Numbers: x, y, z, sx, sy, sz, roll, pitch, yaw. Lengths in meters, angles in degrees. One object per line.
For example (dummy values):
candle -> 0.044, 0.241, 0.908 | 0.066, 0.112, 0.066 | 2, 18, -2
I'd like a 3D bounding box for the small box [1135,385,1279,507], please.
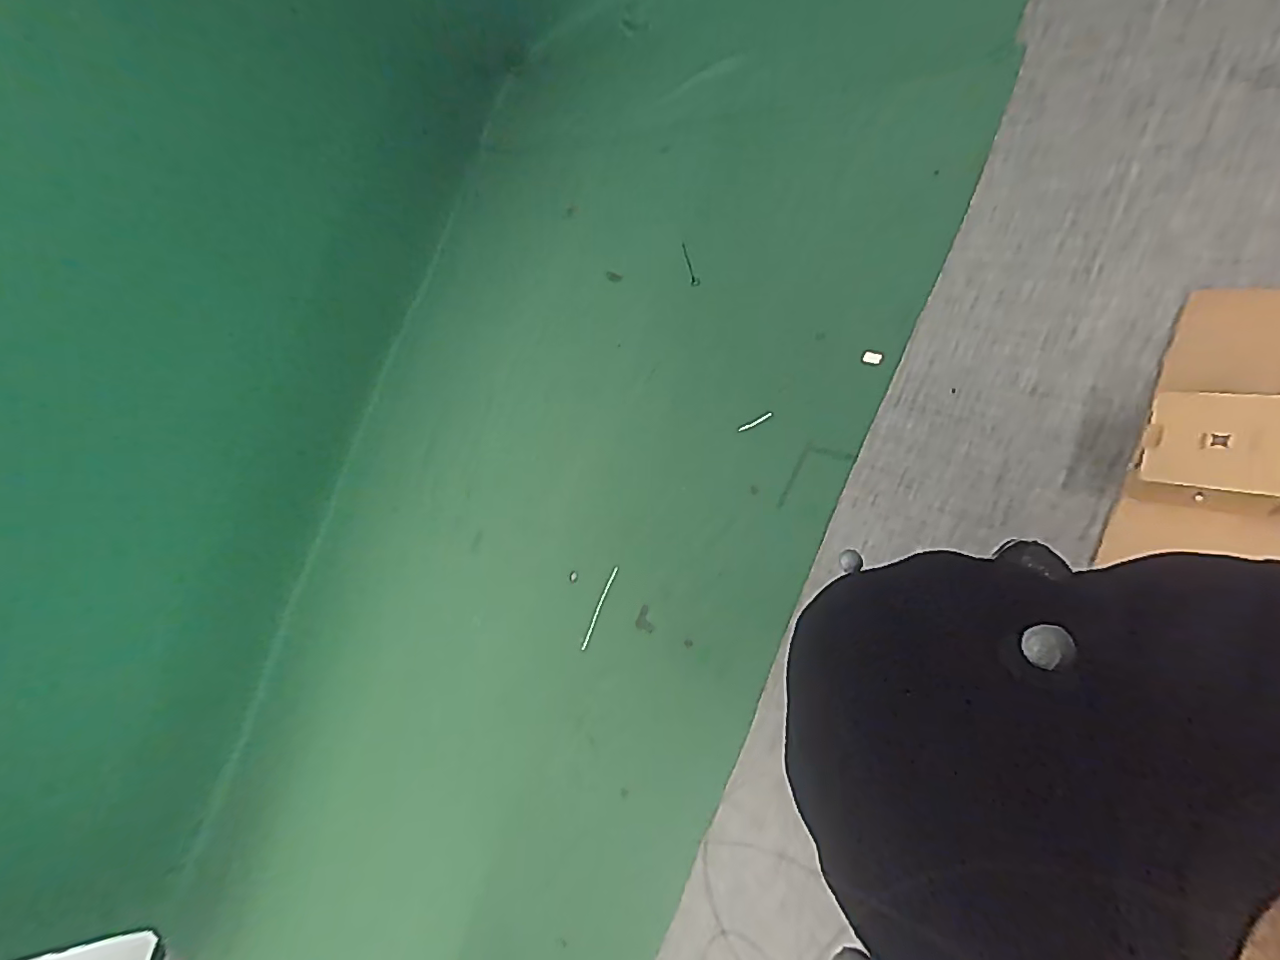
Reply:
small box -> 1.001, -0.057, 0.948 | 0.179, 0.176, 0.168 | 12, 85, 41
